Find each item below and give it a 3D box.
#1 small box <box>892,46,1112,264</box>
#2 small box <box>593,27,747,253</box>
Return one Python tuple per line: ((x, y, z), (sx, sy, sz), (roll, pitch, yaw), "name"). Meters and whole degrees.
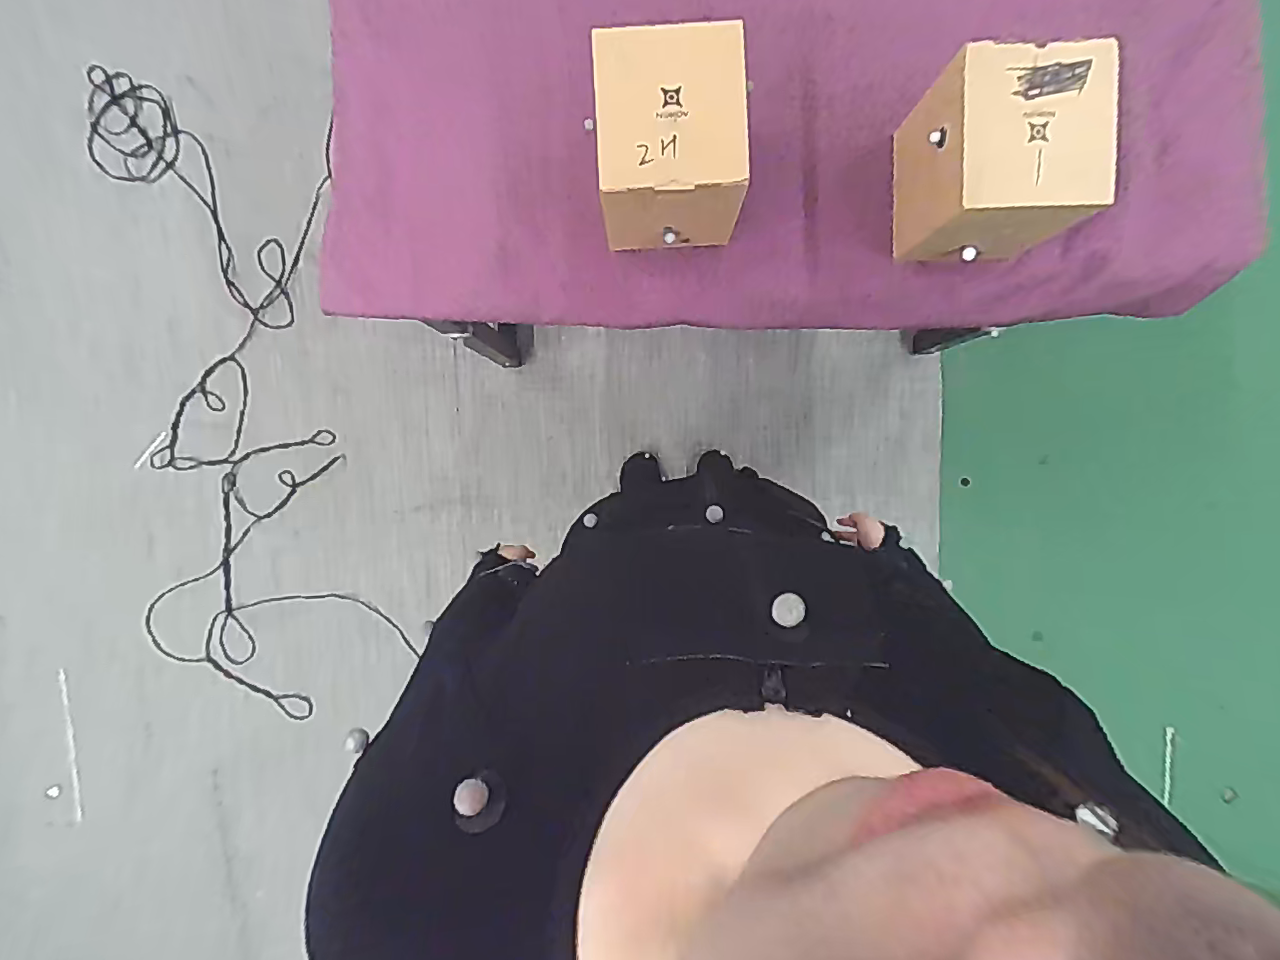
((0.428, -0.384, 0.666), (0.168, 0.176, 0.179), (-1, 93, 1), "small box")
((0.033, -0.403, 0.667), (0.168, 0.176, 0.179), (-3, 92, 1), "small box")
